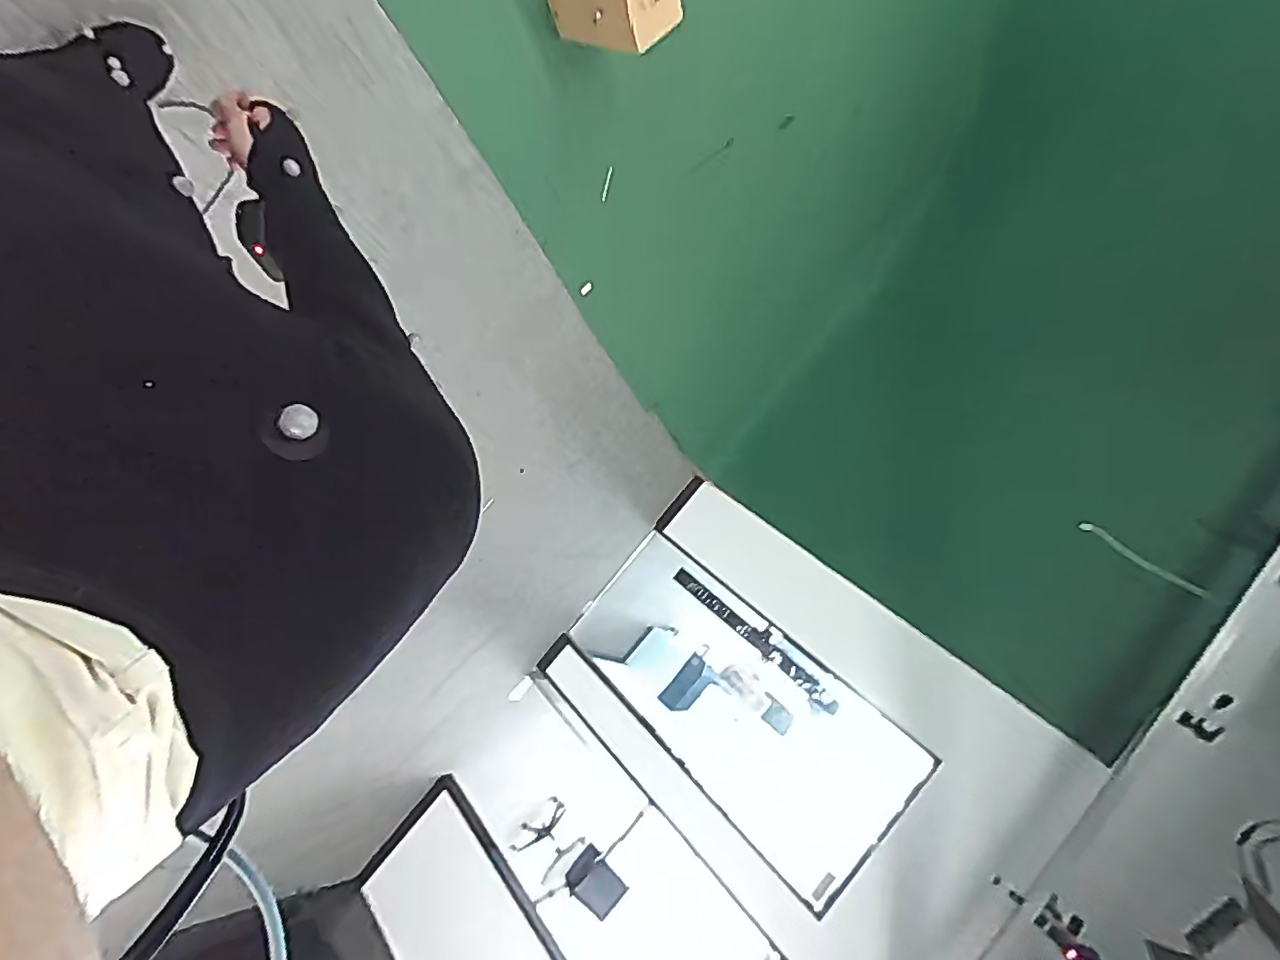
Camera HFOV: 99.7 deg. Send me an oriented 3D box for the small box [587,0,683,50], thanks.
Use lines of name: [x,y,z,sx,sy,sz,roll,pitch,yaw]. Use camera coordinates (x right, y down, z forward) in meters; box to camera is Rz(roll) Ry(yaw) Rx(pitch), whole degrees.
small box: [-0.020,-1.239,1.367,0.179,0.176,0.168,-46,150,-10]
